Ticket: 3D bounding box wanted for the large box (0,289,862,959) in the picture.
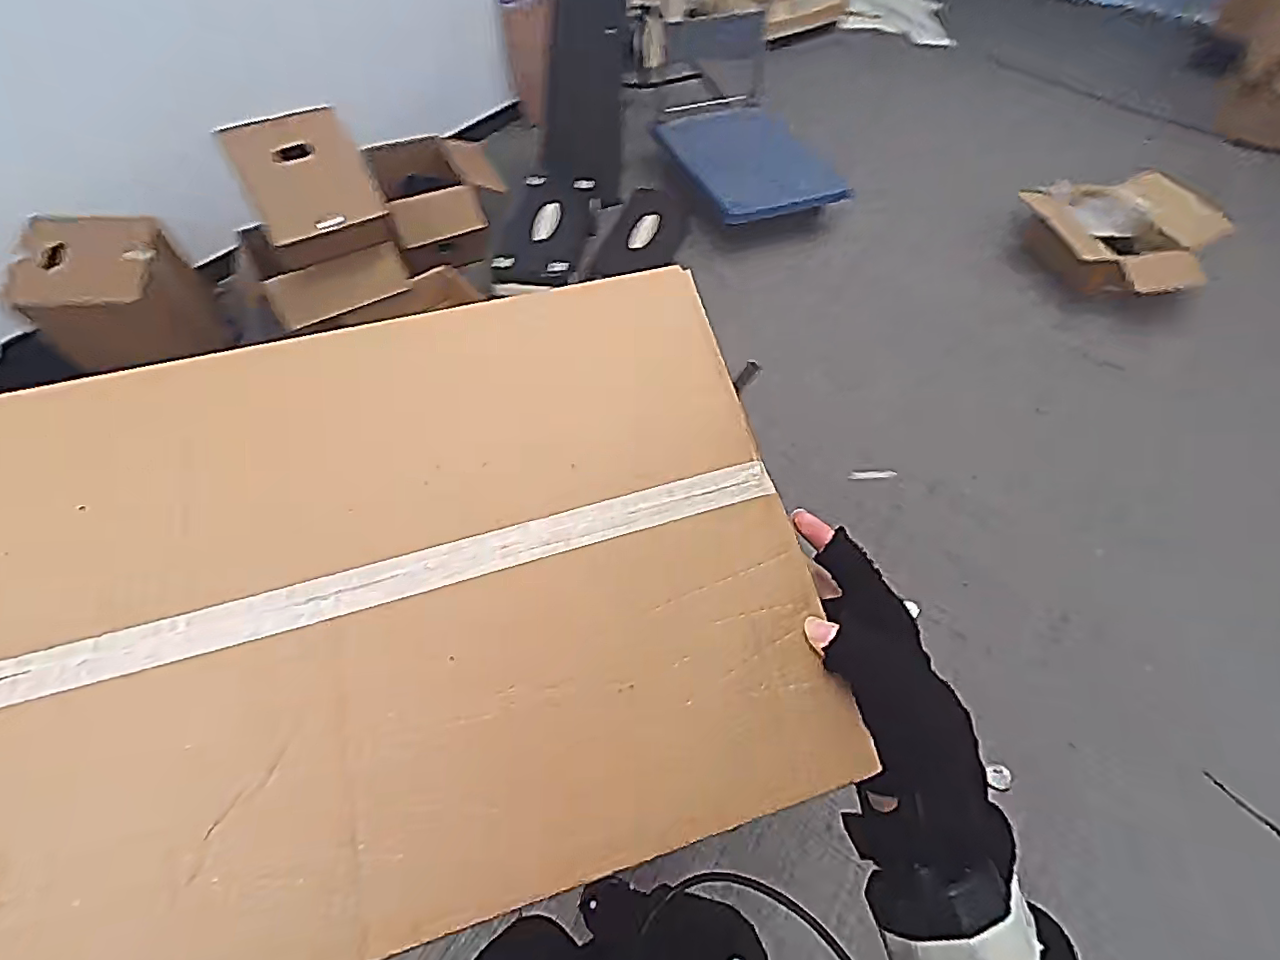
[{"bbox_3d":[-0.124,0.107,0.426,0.408,0.320,0.320,-14,72,-8],"label":"large box"}]
